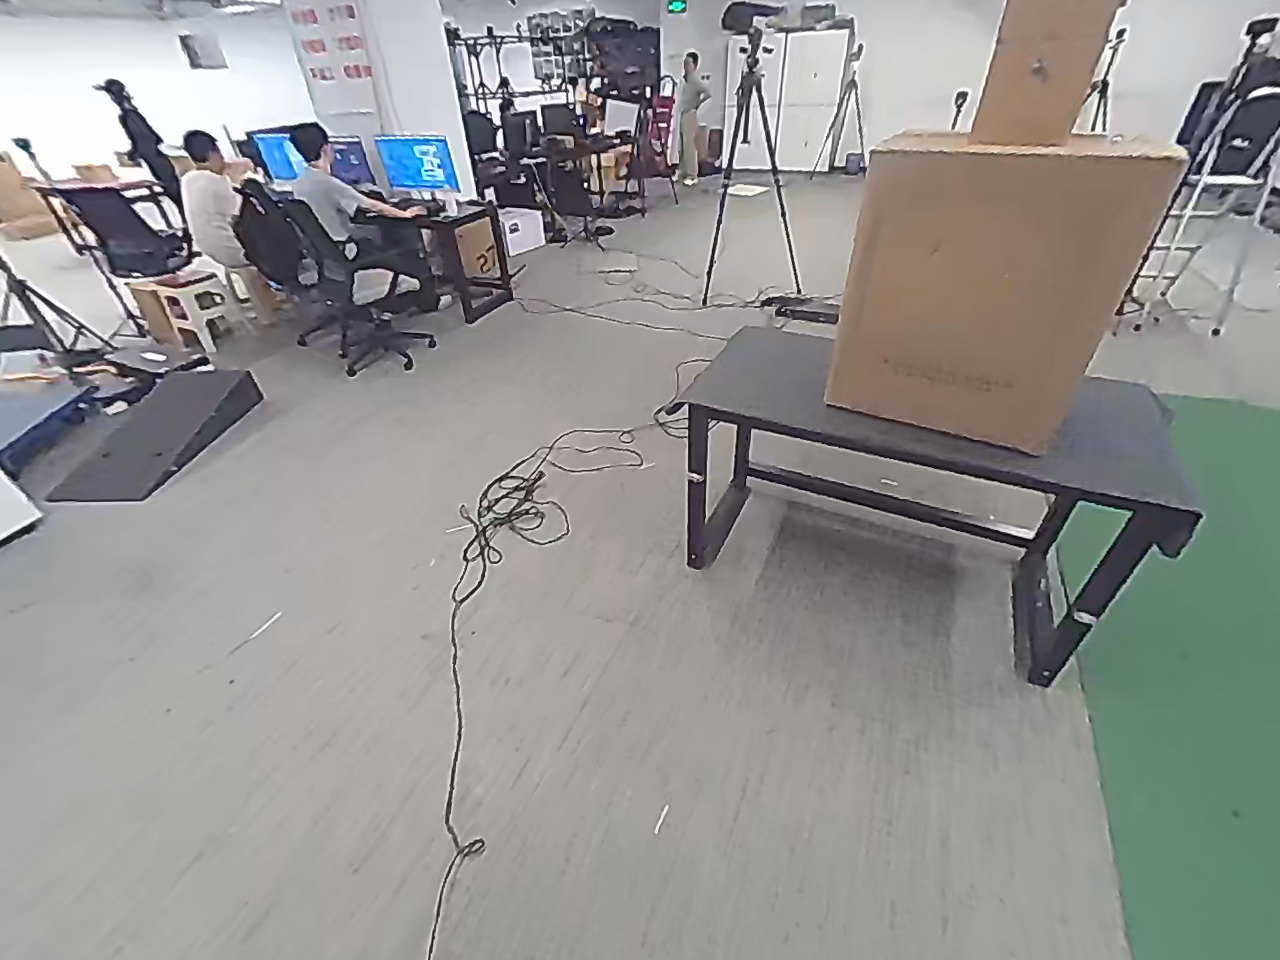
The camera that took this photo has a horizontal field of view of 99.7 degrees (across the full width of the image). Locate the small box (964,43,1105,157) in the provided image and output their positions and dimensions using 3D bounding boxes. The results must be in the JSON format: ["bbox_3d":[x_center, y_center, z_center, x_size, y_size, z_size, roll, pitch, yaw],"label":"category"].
[{"bbox_3d":[0.779,-0.753,1.076,0.179,0.176,0.168,20,45,28],"label":"small box"}]
